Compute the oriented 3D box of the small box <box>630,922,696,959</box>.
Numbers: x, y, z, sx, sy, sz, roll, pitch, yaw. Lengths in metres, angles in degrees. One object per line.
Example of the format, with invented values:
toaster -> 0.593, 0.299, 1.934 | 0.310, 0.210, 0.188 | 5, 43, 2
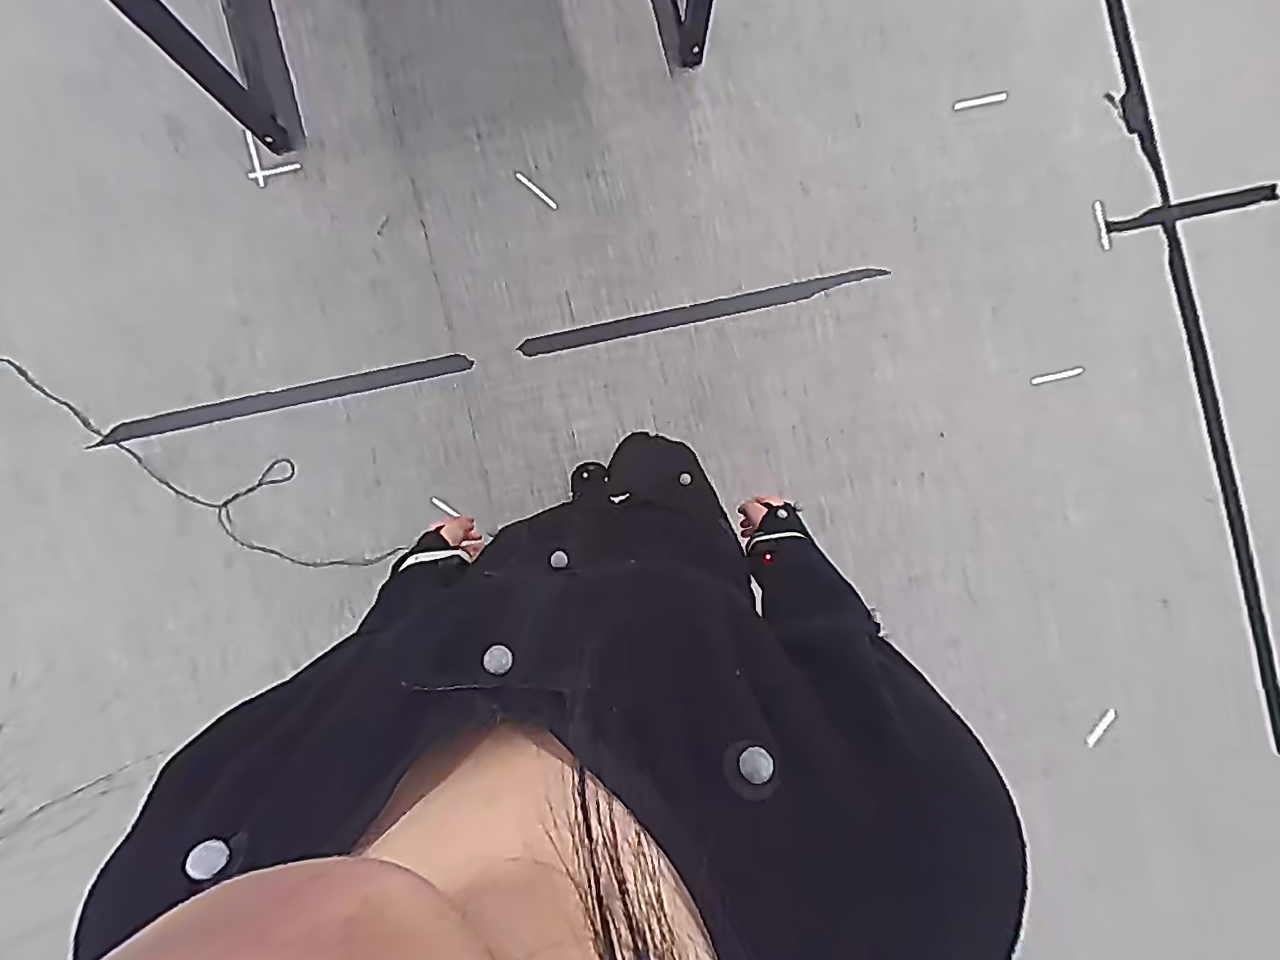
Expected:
small box -> 0.071, 1.322, 1.430 | 0.168, 0.176, 0.179 | -15, 91, -2
